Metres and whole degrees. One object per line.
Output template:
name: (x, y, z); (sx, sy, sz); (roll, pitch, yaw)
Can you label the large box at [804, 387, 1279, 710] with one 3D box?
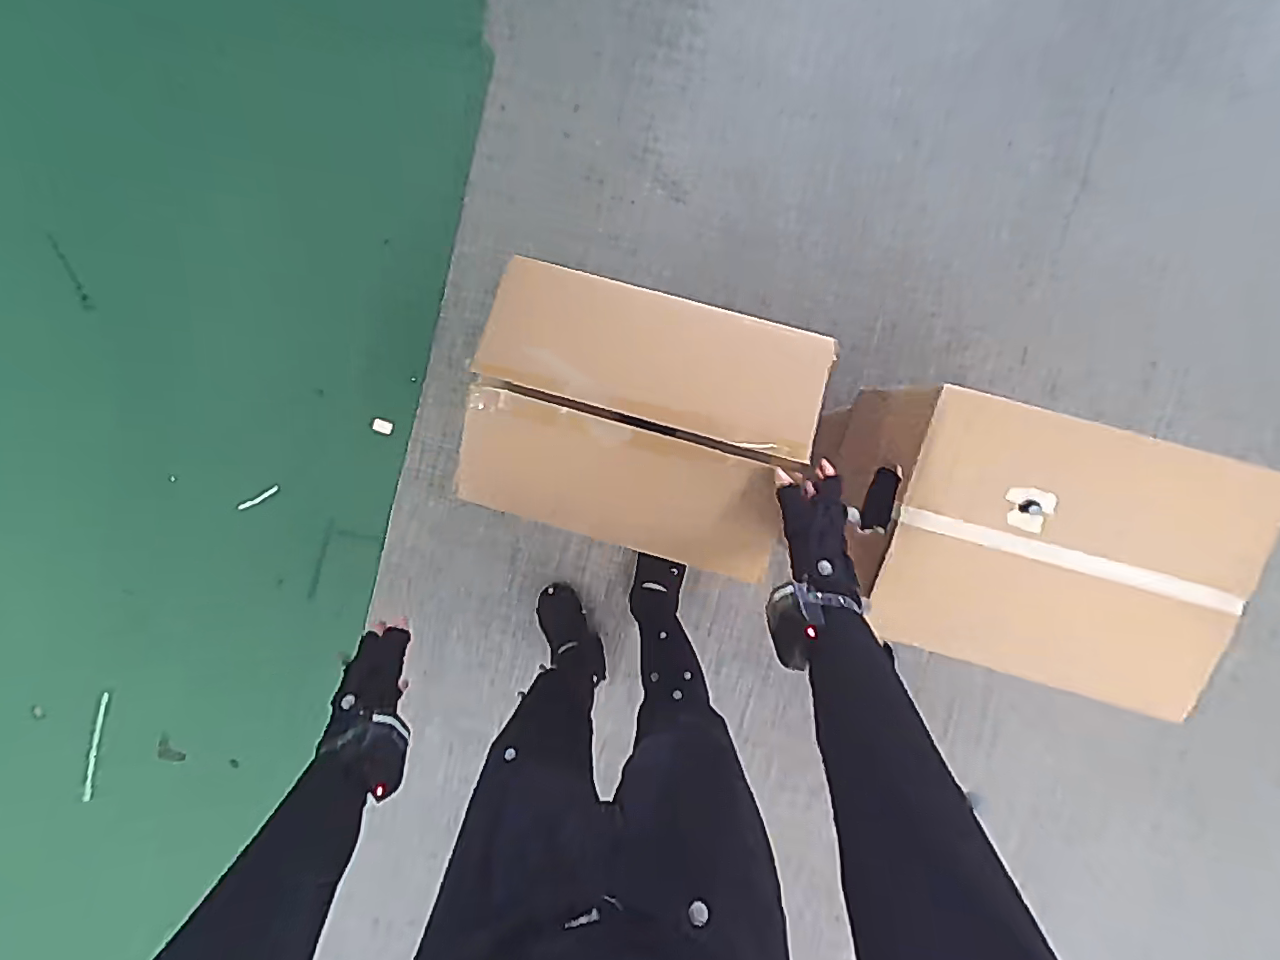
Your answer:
large box: (0.503, 0.062, 0.784); (0.408, 0.320, 0.320); (16, 99, 4)
